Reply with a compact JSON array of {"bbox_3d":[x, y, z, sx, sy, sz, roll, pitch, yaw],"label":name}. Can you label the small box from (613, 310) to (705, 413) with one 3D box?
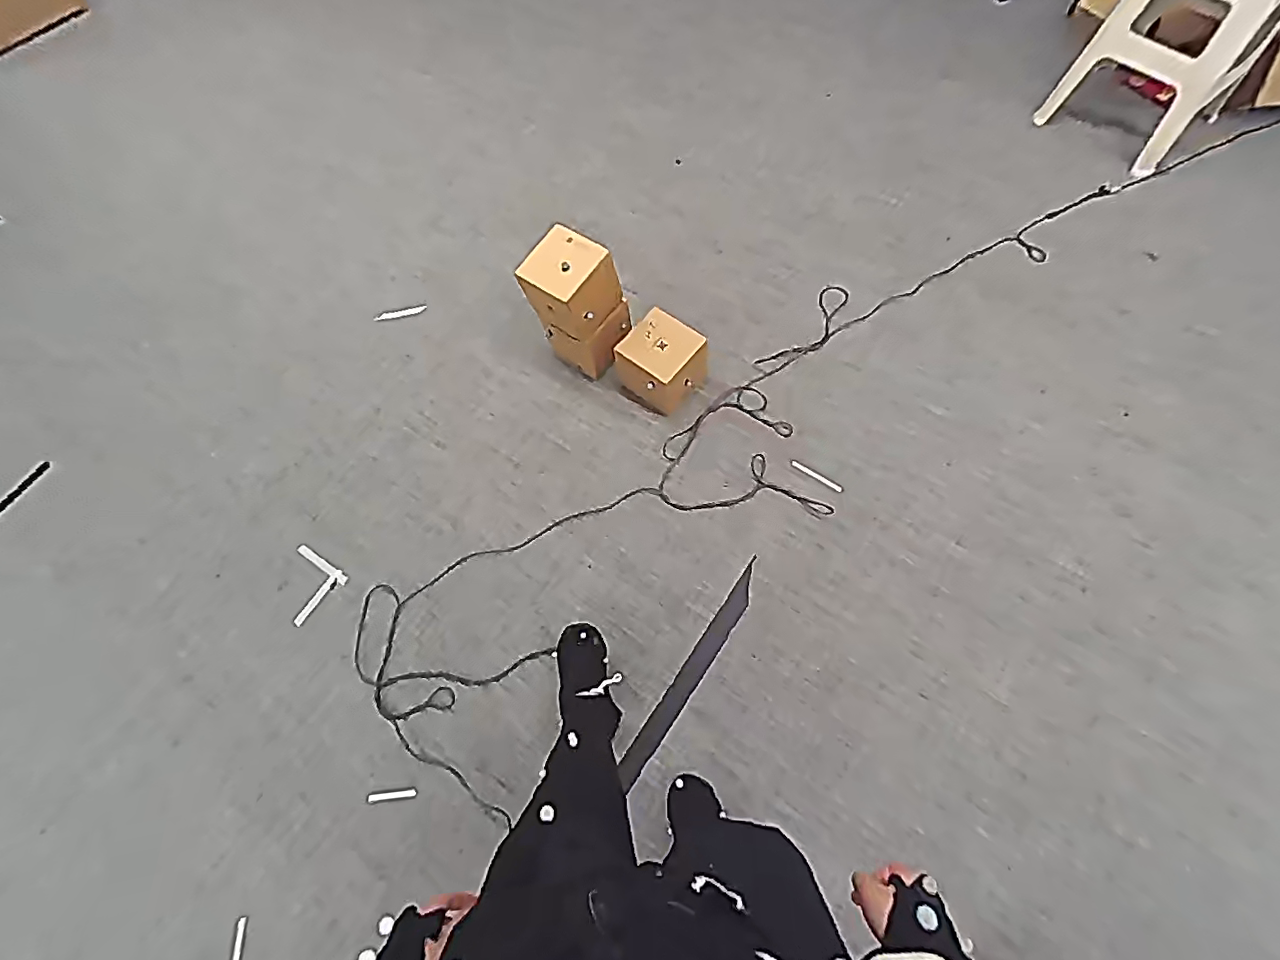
[{"bbox_3d":[0.054,-0.302,1.423,0.179,0.176,0.168,37,75,18],"label":"small box"}]
